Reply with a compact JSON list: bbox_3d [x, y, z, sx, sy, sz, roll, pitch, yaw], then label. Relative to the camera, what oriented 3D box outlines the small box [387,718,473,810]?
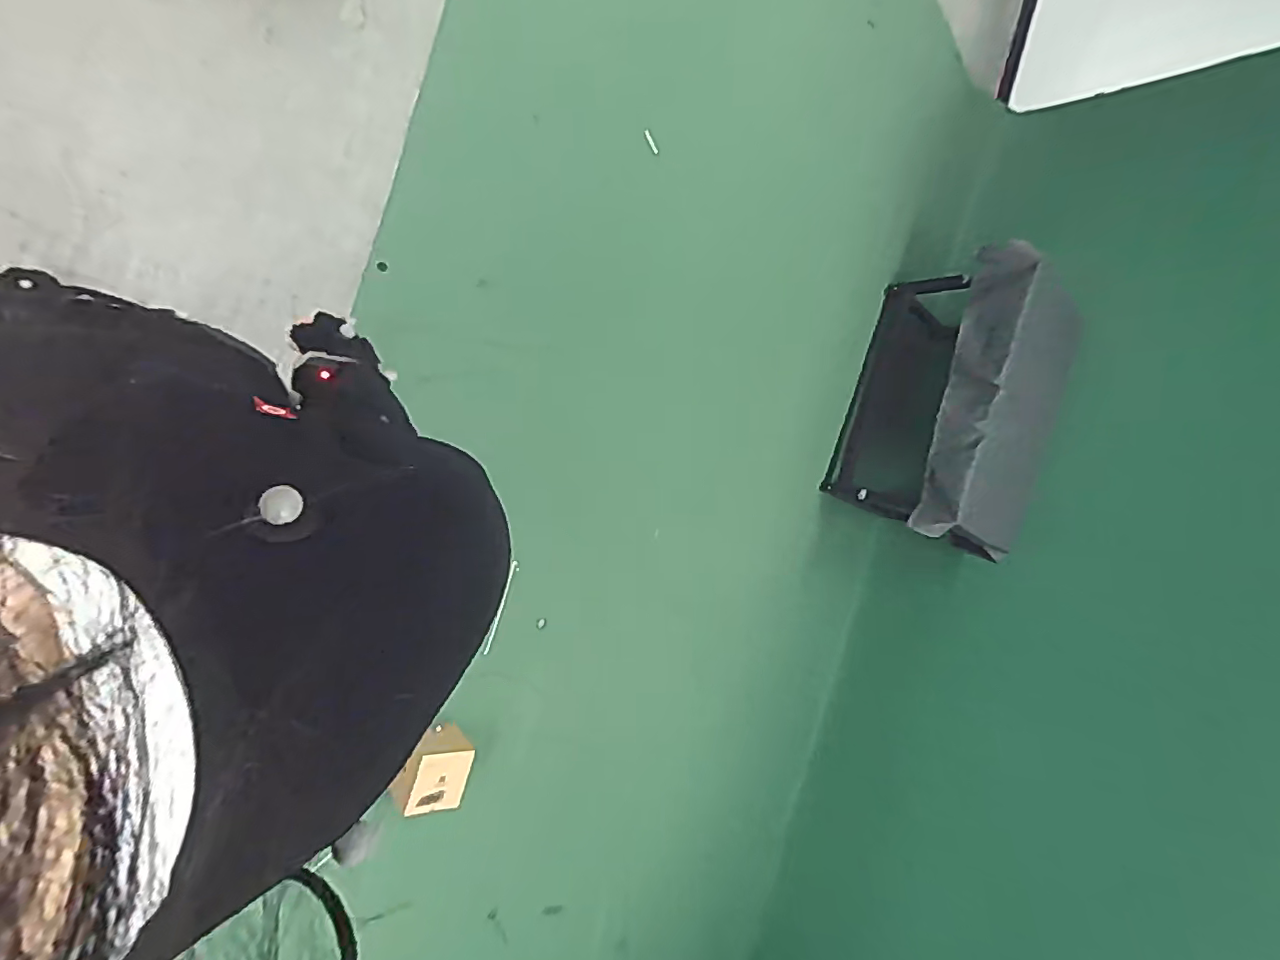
[{"bbox_3d":[-0.630,0.838,1.611,0.168,0.176,0.179,19,88,-43],"label":"small box"}]
